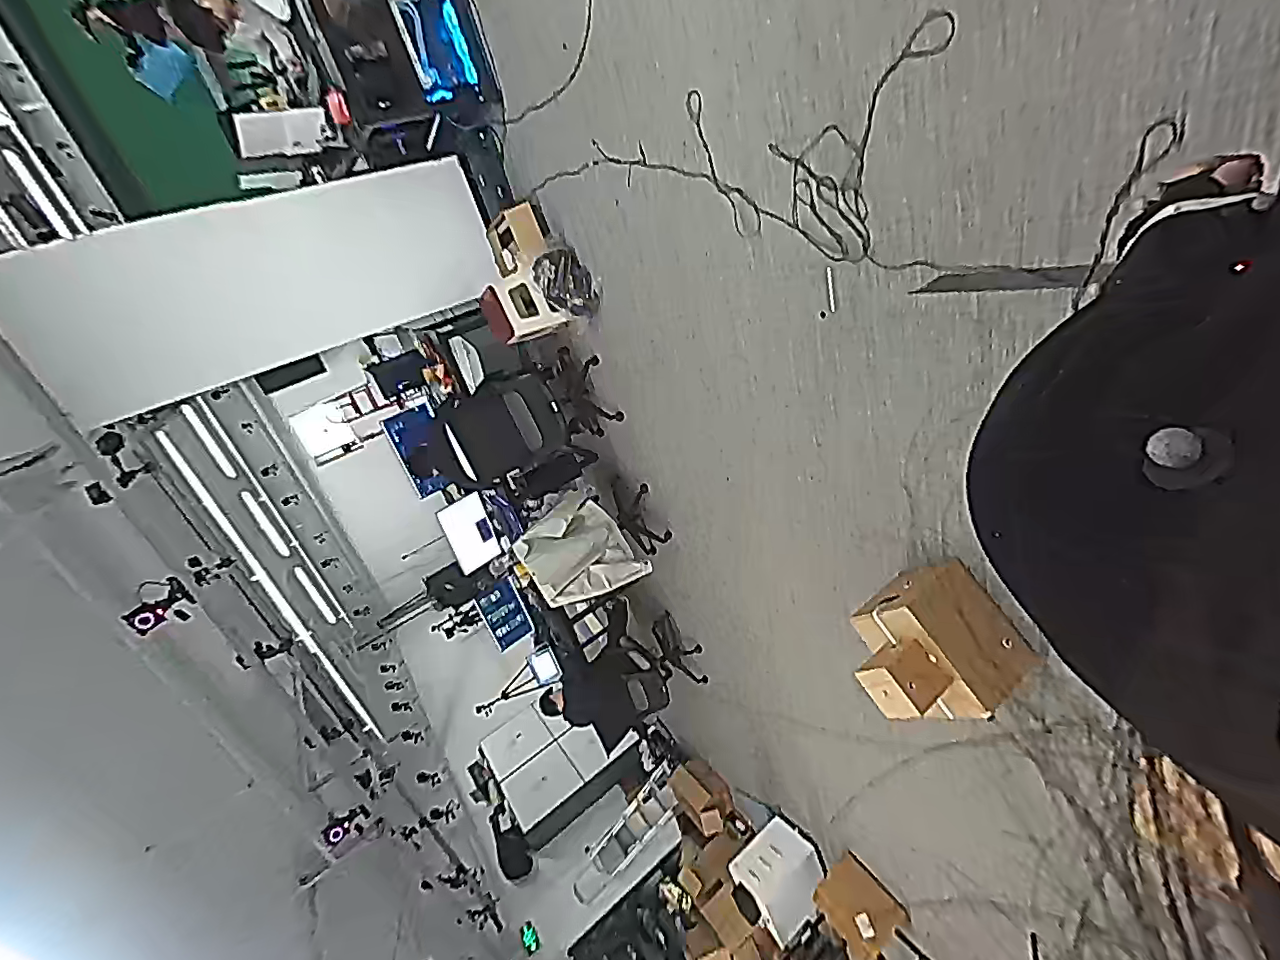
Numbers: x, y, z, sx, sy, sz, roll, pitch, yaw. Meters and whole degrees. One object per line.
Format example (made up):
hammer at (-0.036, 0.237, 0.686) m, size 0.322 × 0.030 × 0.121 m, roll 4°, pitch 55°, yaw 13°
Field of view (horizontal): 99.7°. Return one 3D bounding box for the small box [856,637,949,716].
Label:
small box at (0.857, 0.640, 1.762) m, size 0.179 × 0.176 × 0.168 m, roll 55°, pitch 154°, yaw 13°
